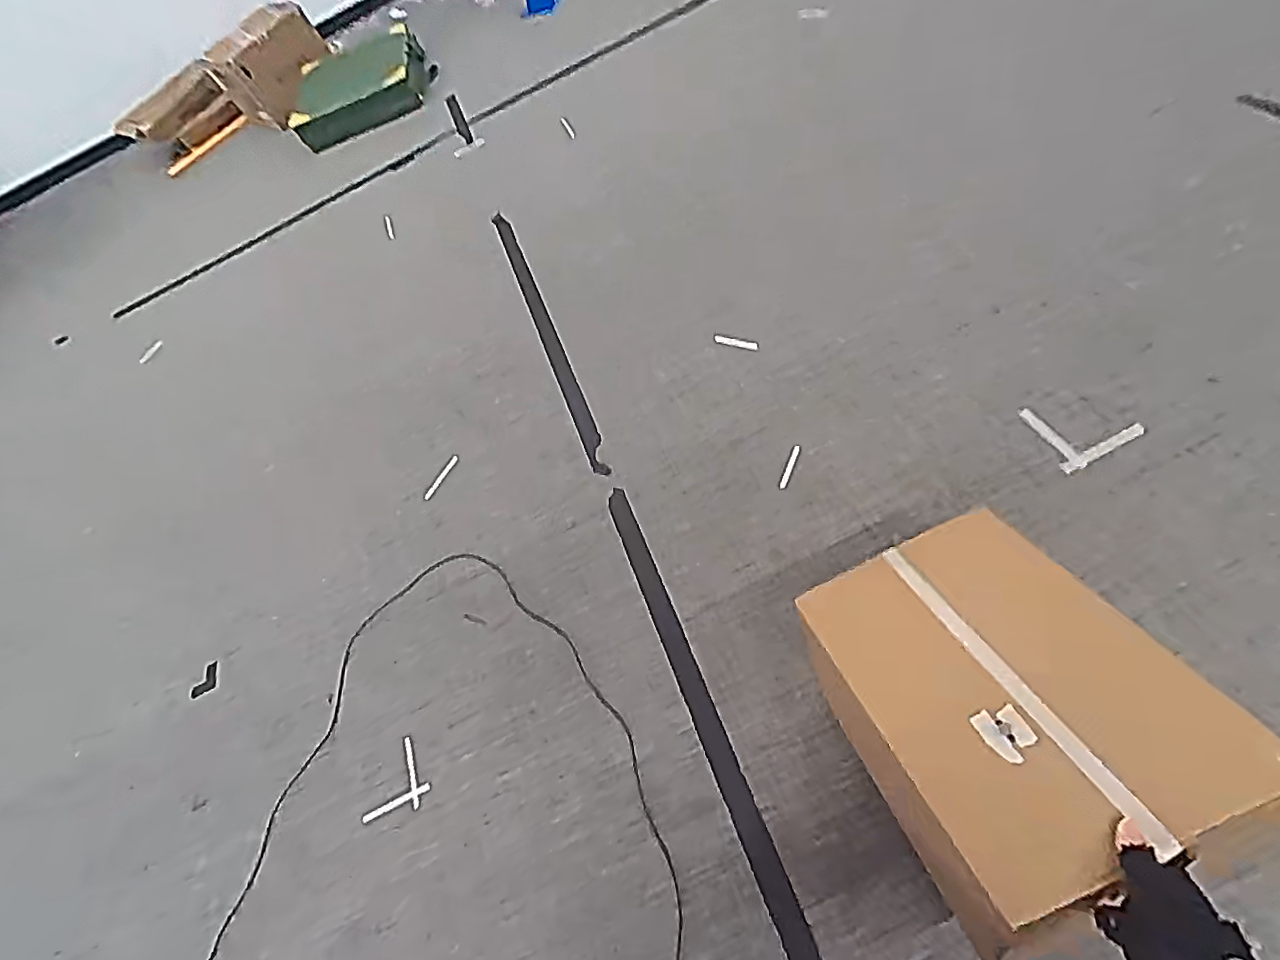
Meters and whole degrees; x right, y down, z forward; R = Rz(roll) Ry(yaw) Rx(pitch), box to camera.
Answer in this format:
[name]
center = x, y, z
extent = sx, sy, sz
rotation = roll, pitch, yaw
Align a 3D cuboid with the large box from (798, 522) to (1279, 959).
[large box]
center = 0.473, 0.337, 0.727
extent = 0.320, 0.320, 0.408
rotation = -28, 36, 1
